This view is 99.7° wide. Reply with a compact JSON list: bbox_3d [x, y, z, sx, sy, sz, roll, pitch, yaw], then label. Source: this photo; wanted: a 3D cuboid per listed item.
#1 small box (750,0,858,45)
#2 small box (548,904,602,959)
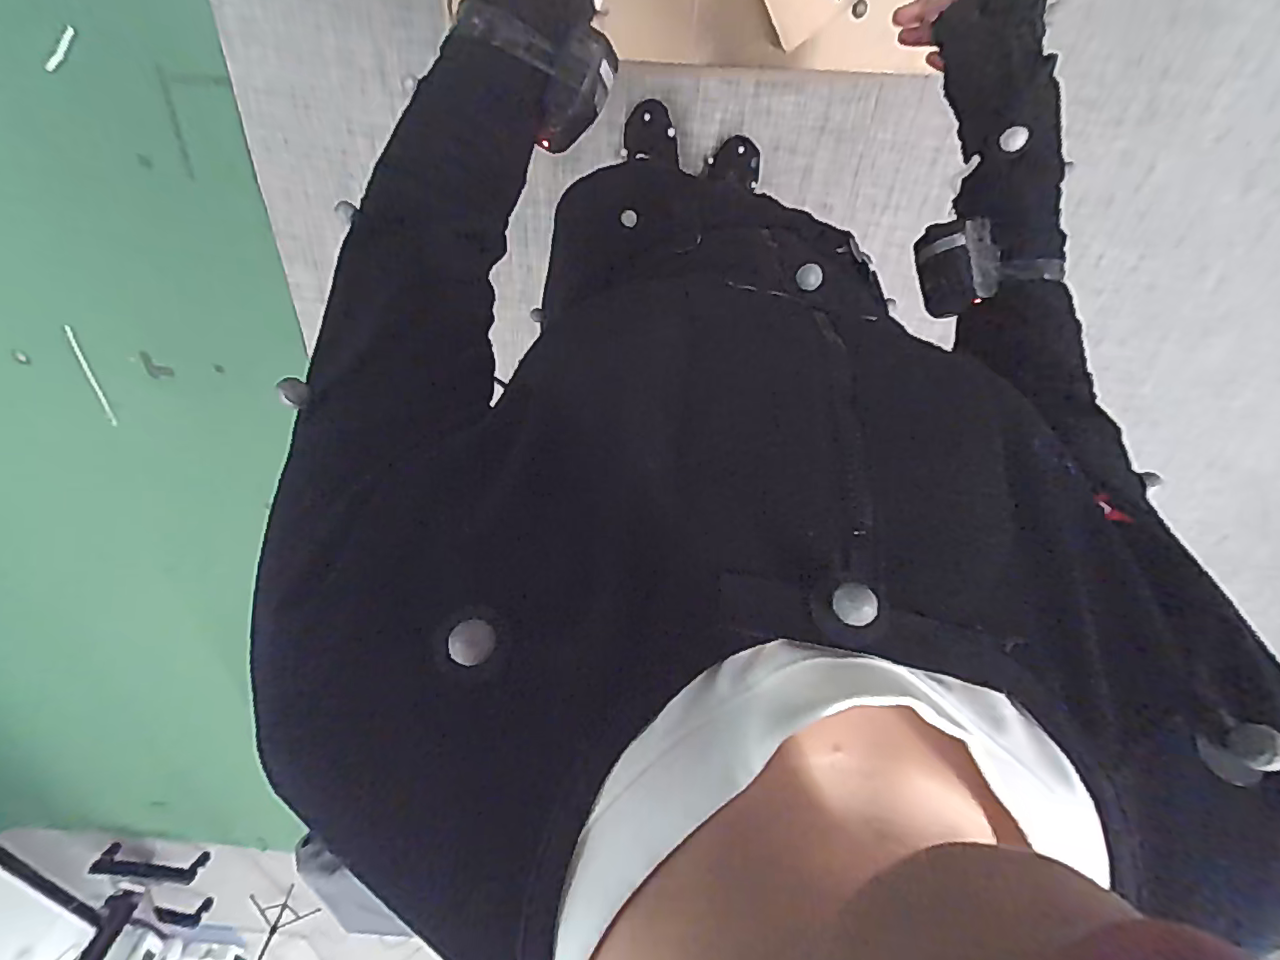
[{"bbox_3d":[0.149,-0.497,0.433,0.168,0.176,0.179,-25,125,24],"label":"small box"},{"bbox_3d":[-0.219,1.564,1.825,0.168,0.176,0.179,4,127,0],"label":"small box"}]
